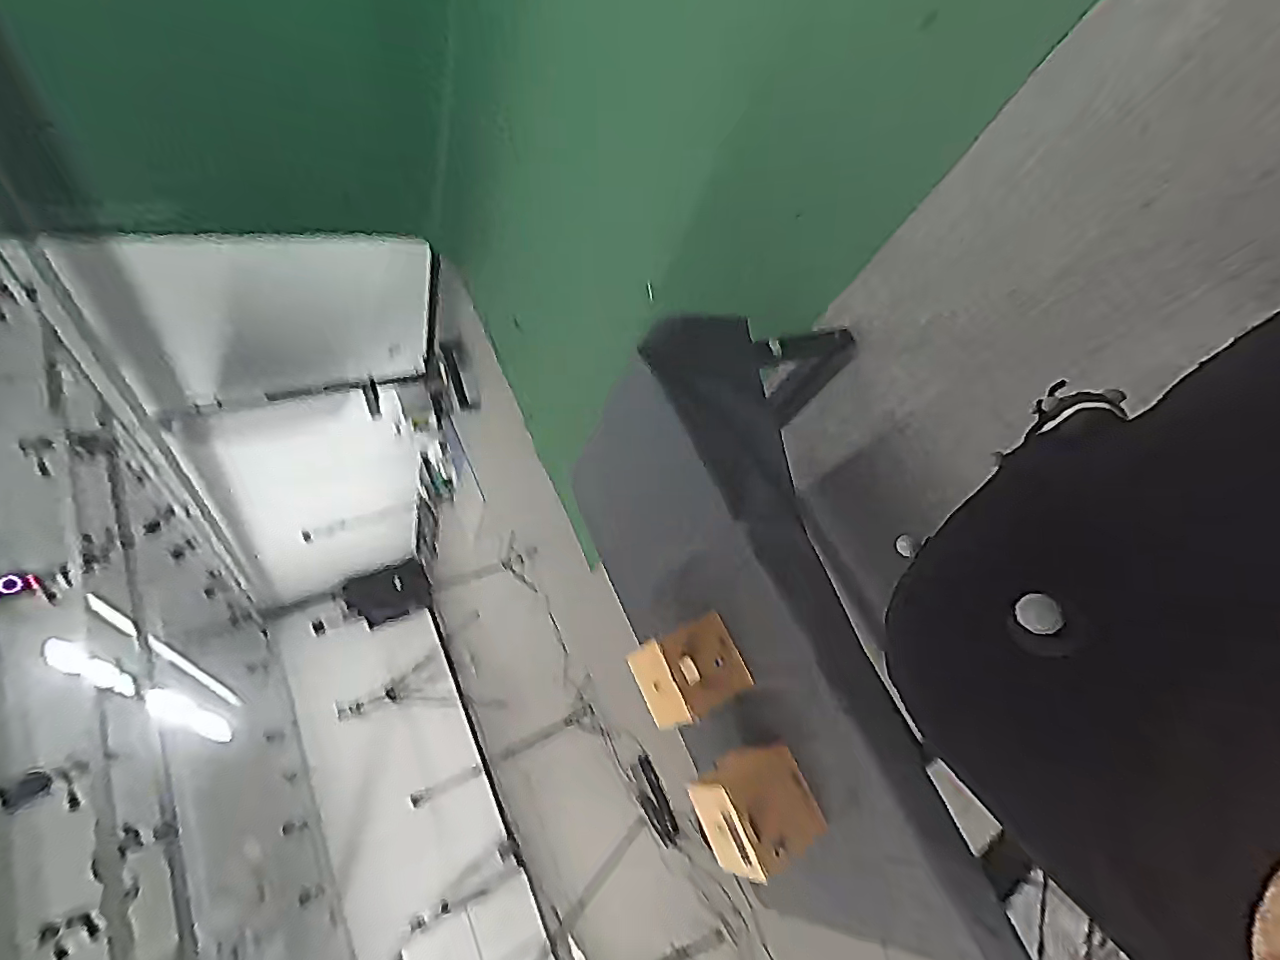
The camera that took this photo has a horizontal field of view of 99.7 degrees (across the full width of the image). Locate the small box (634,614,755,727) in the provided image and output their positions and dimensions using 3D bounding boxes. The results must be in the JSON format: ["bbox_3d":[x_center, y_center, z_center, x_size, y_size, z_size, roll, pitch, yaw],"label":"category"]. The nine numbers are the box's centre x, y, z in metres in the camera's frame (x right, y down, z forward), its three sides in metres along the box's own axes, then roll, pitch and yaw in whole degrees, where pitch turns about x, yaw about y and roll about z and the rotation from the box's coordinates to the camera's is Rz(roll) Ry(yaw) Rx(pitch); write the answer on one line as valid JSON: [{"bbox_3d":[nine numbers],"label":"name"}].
[{"bbox_3d":[0.116,0.413,1.175,0.168,0.176,0.179,63,147,19],"label":"small box"}]
